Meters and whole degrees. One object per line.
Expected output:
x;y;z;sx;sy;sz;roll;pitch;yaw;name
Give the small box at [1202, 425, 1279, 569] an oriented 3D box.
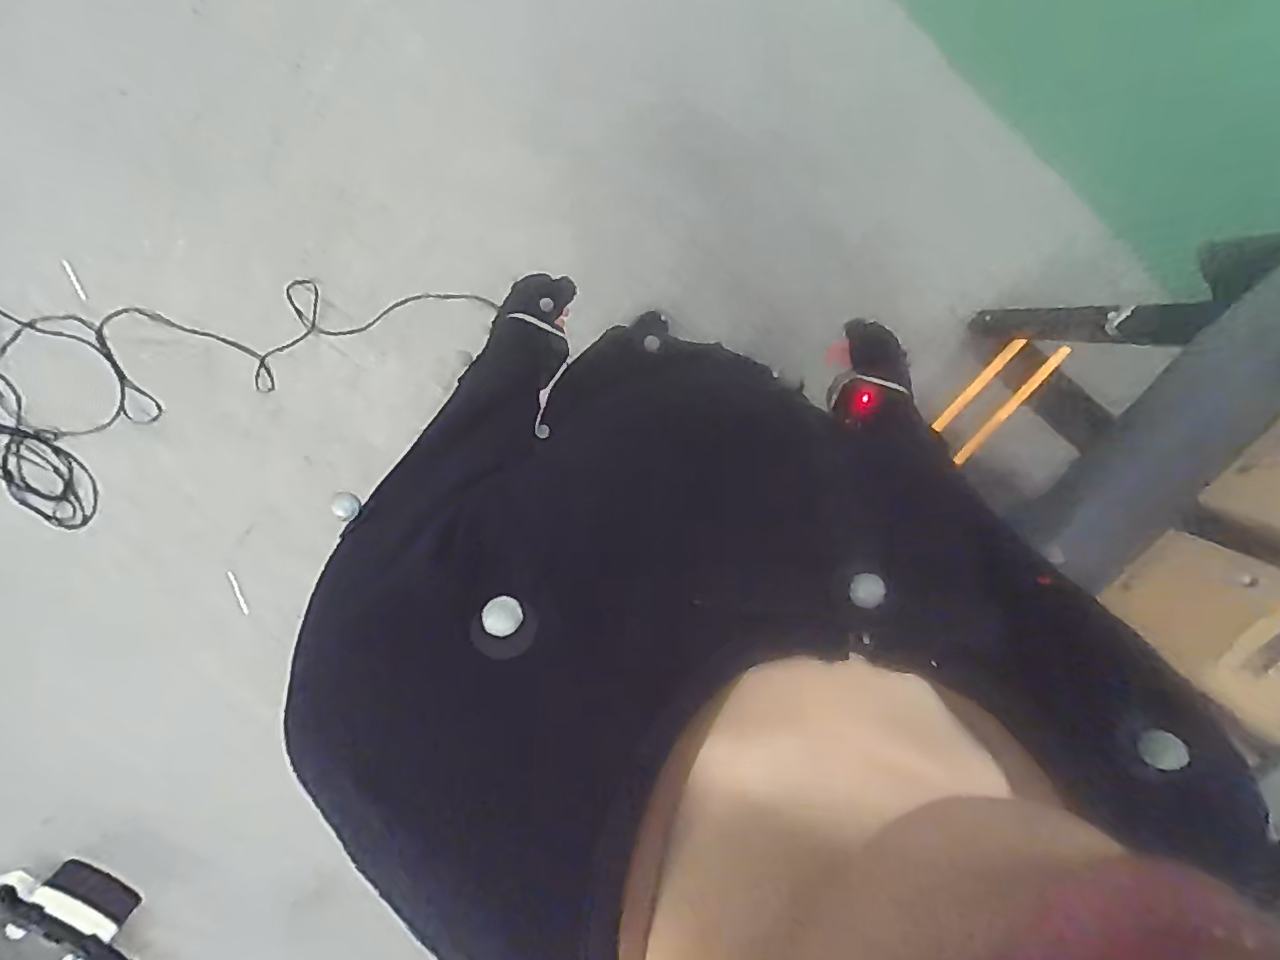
0.892;0.041;0.673;0.179;0.176;0.168;35;103;-10;small box
